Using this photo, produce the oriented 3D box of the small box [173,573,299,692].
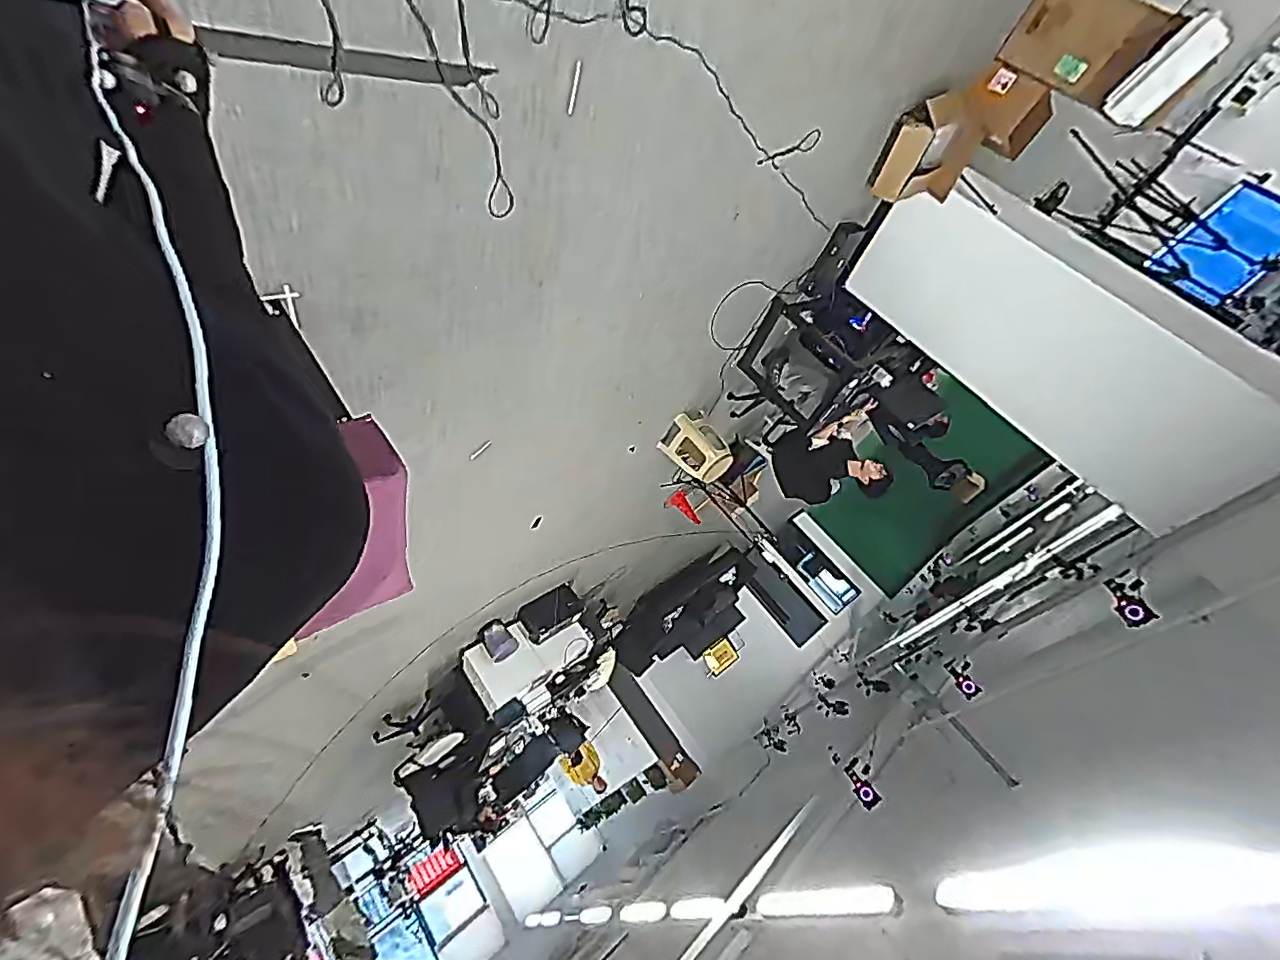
[{"bbox_3d":[-0.895,0.330,1.203,0.168,0.176,0.179,-25,155,-35],"label":"small box"}]
